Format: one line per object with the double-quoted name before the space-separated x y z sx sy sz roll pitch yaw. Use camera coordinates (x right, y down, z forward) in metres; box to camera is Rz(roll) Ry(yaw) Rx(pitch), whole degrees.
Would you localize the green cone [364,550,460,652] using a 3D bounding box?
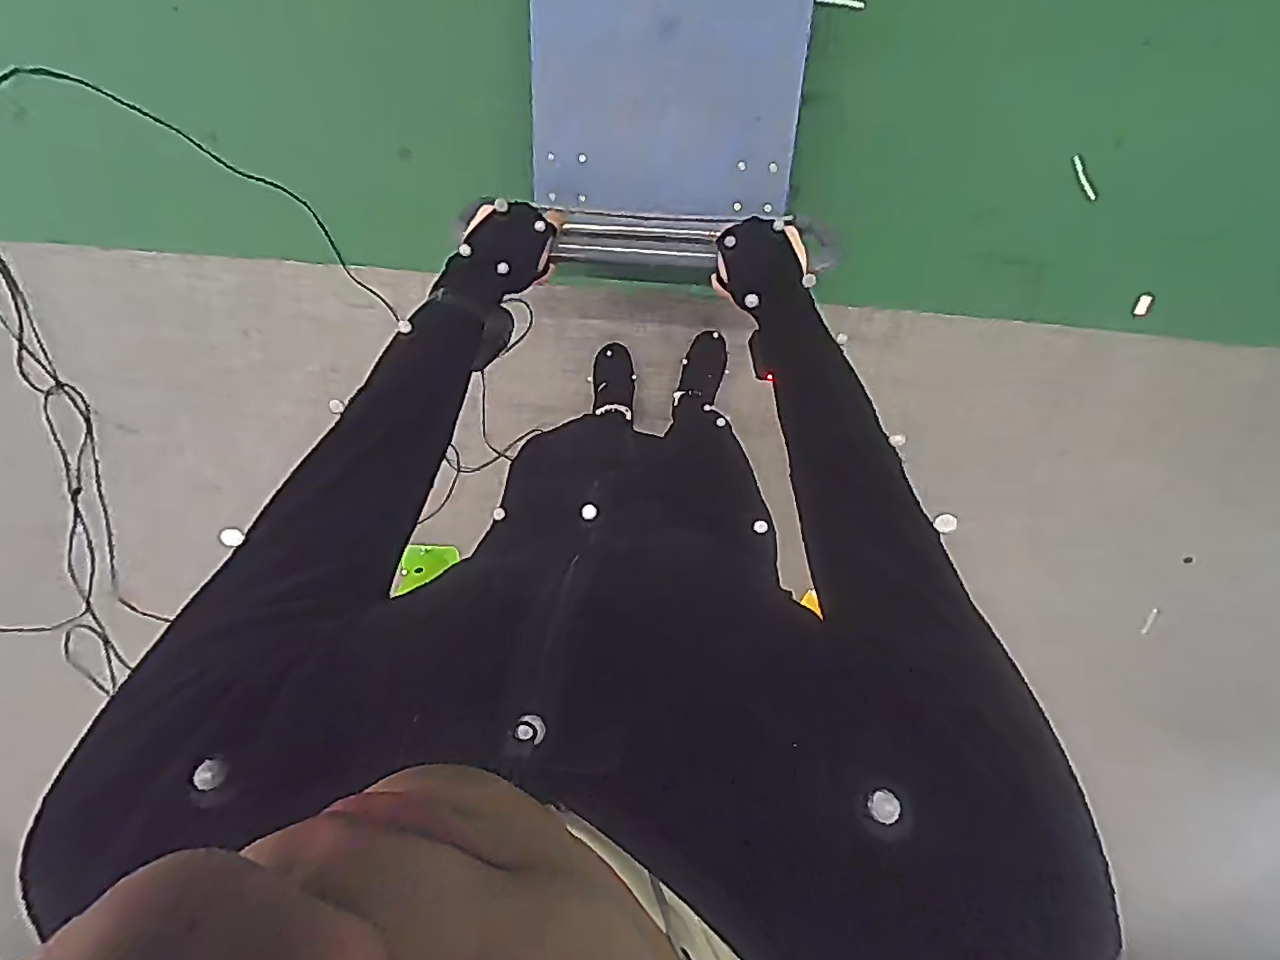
"green cone" -0.724 0.390 1.659 0.202 0.368 0.200 2 112 4
